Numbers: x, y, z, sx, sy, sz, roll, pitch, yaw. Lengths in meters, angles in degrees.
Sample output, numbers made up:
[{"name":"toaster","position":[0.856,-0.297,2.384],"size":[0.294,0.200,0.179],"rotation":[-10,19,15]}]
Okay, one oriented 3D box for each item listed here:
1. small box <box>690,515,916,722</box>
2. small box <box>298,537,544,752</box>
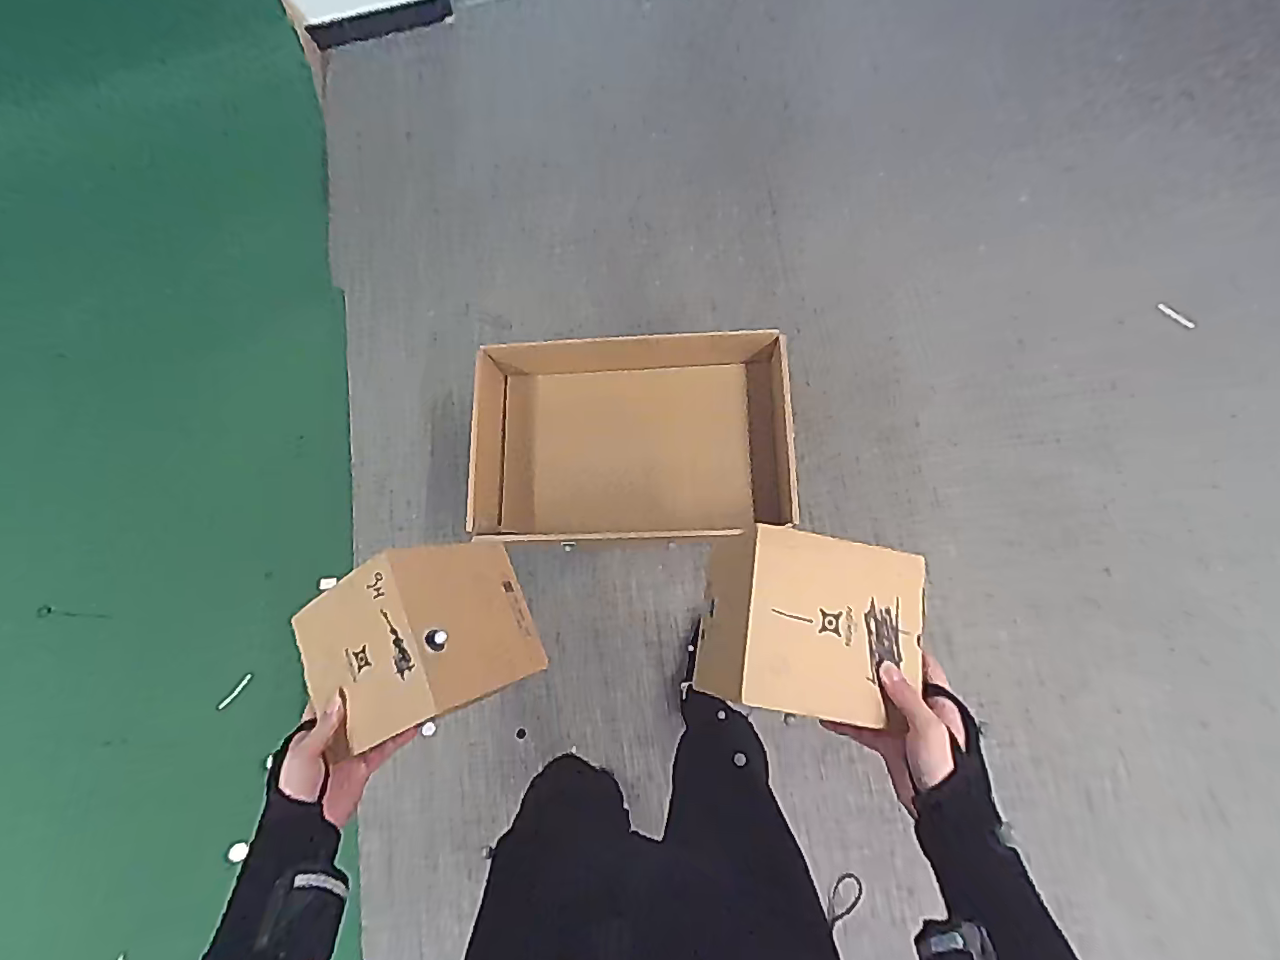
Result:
[{"name":"small box","position":[0.164,0.148,0.578],"size":[0.179,0.176,0.168],"rotation":[11,72,-4]},{"name":"small box","position":[-0.243,0.176,0.615],"size":[0.179,0.176,0.168],"rotation":[-32,73,23]}]
